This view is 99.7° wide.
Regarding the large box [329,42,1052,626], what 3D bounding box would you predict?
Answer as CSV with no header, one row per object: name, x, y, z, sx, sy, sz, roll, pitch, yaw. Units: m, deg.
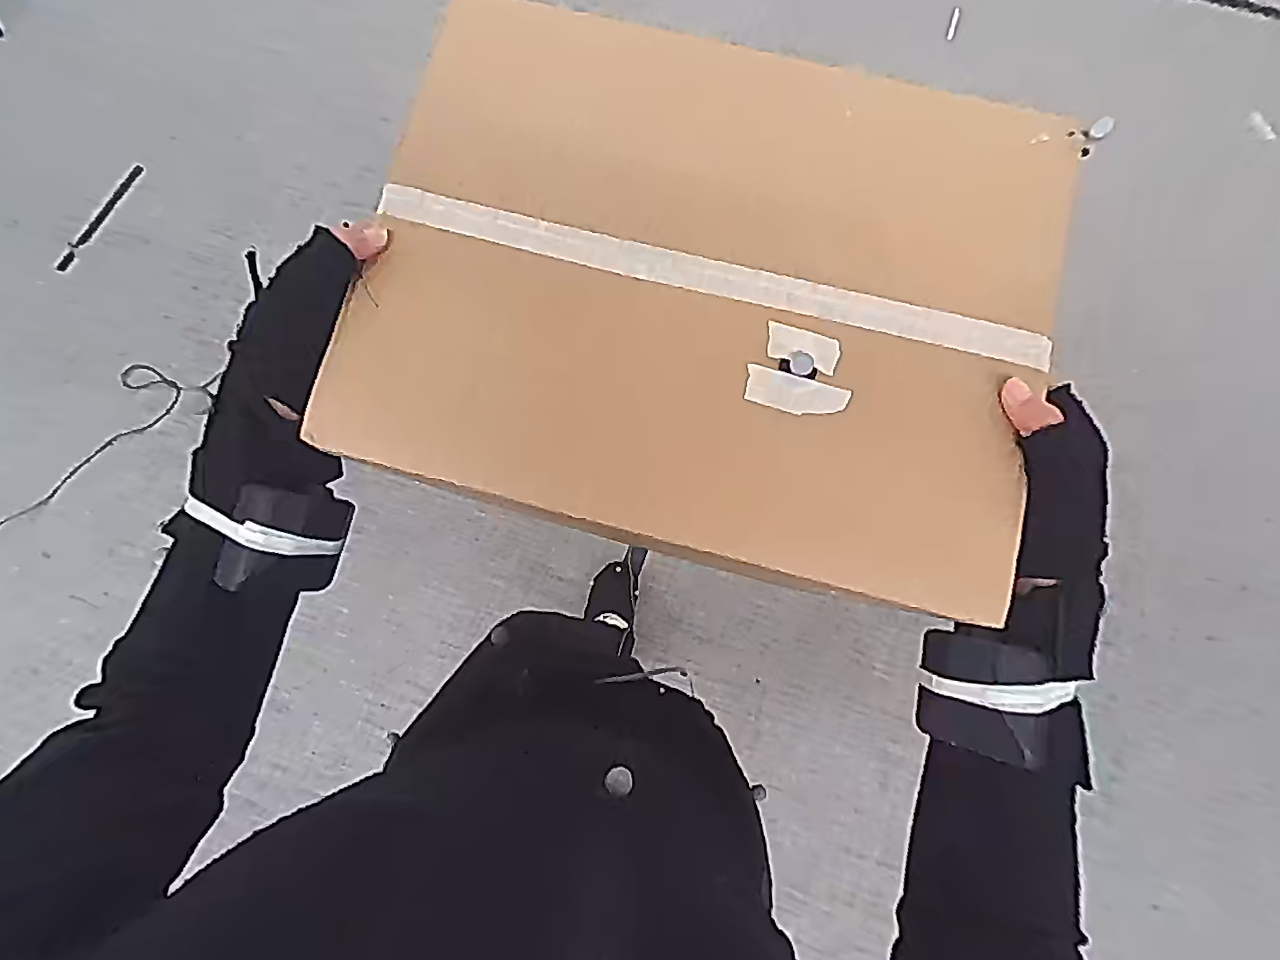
large box,0.039,-0.085,0.483,0.408,0.320,0.320,15,83,3
